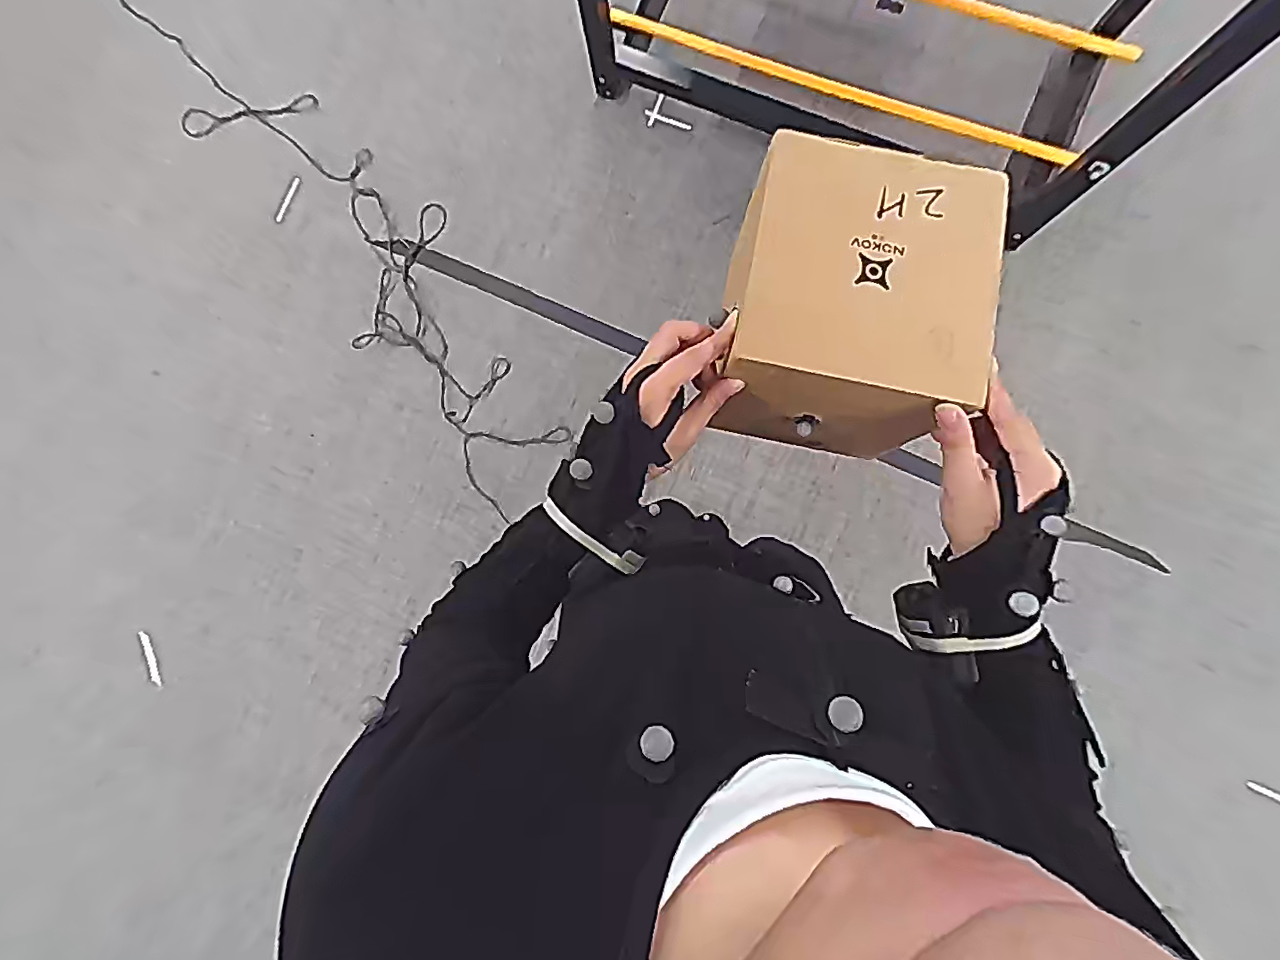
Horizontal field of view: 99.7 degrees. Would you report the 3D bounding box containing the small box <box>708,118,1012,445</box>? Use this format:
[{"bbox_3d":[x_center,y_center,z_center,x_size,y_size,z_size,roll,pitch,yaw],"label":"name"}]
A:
[{"bbox_3d":[0.156,-0.138,0.436,0.168,0.176,0.179,11,80,0],"label":"small box"}]
